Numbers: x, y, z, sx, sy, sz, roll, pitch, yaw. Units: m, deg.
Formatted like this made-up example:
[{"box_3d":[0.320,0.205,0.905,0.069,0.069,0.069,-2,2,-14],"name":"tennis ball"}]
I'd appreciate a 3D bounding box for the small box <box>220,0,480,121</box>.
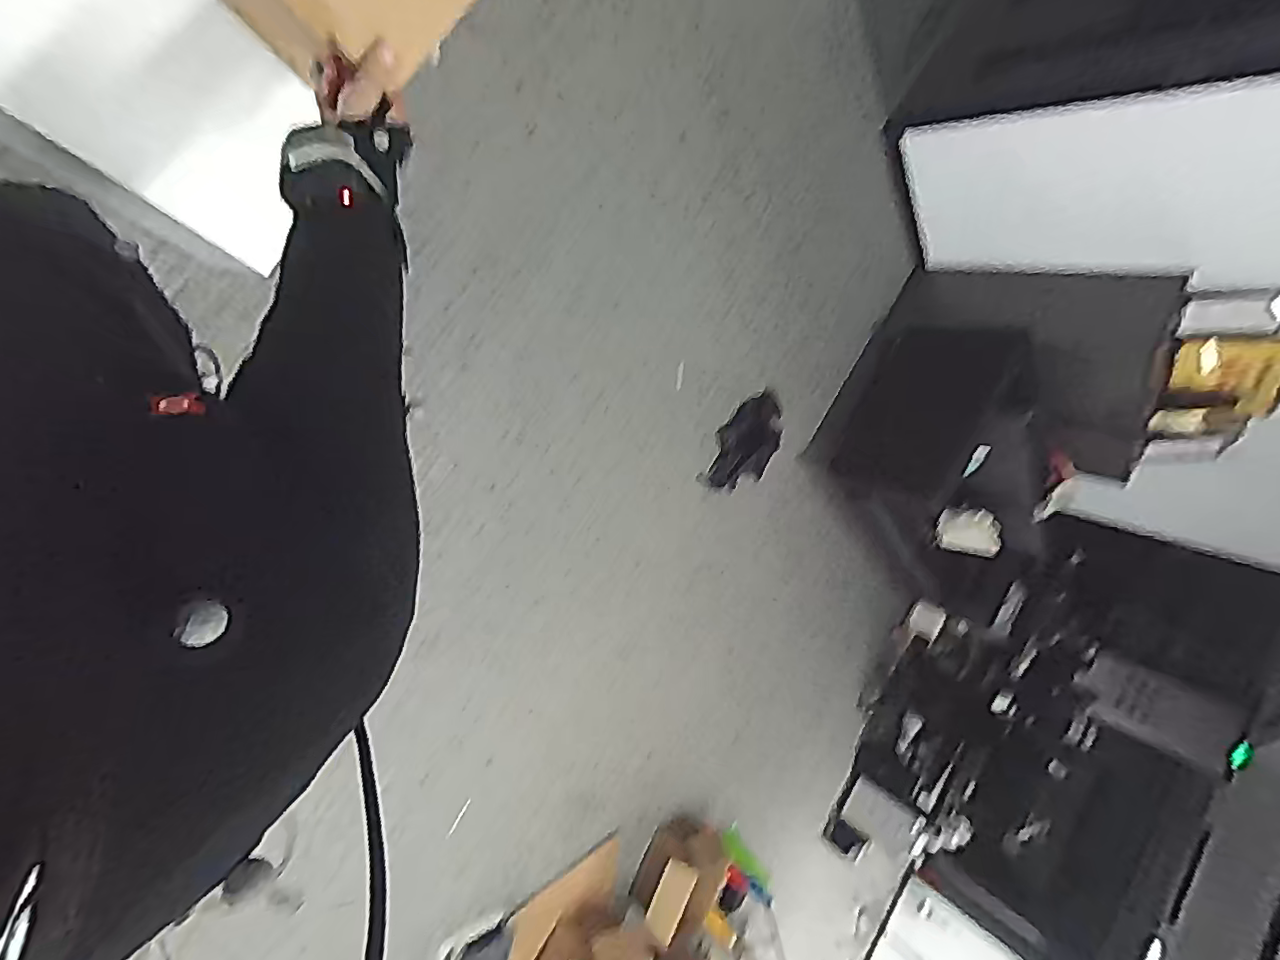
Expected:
[{"box_3d":[-0.284,-0.480,0.513,0.179,0.176,0.168,-56,137,-8],"name":"small box"}]
